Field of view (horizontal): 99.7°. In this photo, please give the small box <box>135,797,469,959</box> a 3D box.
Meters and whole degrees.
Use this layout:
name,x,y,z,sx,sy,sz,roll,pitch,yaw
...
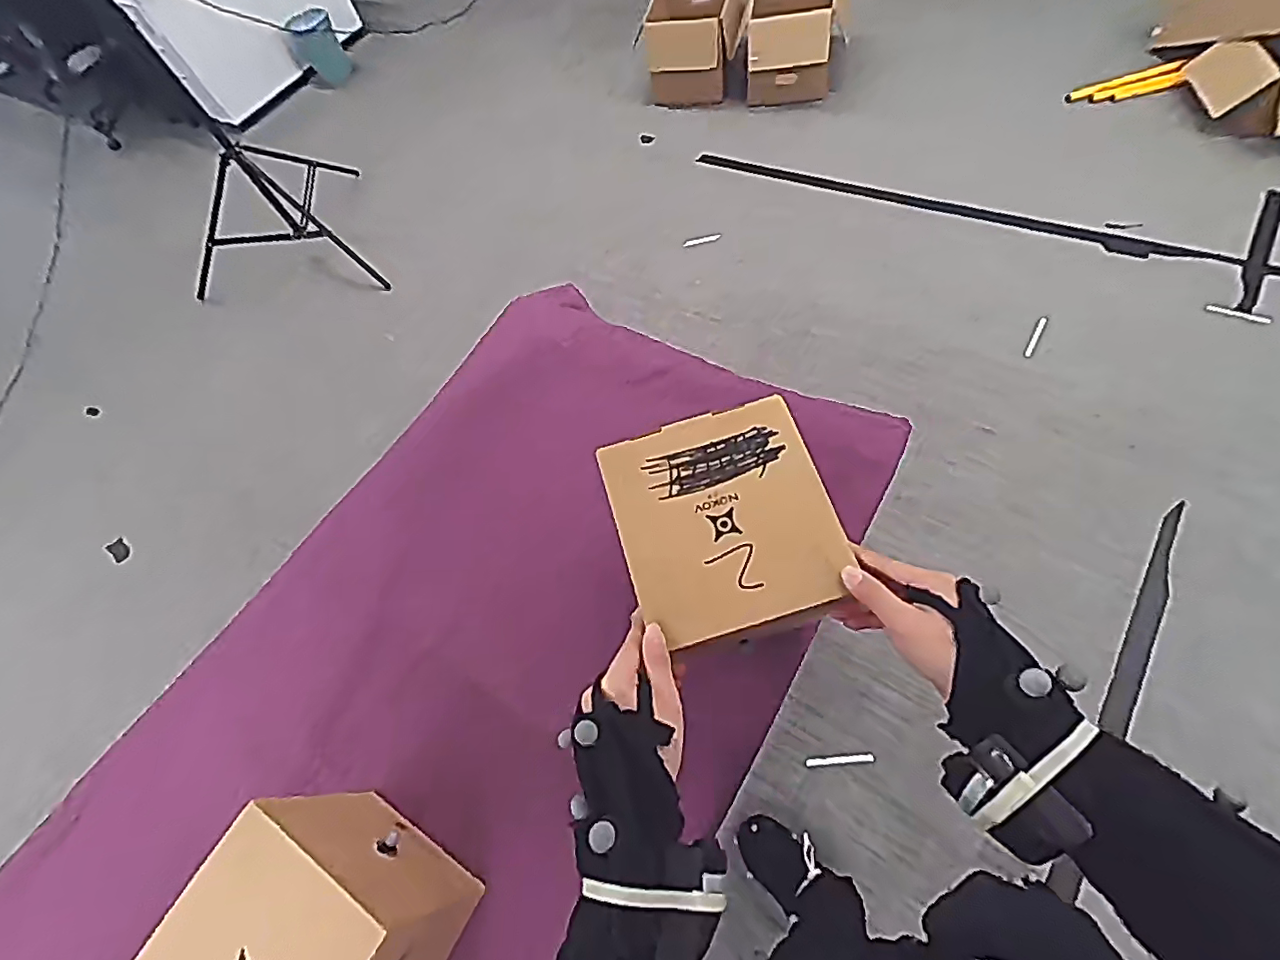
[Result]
name,x,y,z,sx,sy,sz,roll,pitch,yaw
small box,-0.273,0.396,0.456,0.168,0.176,0.179,22,68,22
